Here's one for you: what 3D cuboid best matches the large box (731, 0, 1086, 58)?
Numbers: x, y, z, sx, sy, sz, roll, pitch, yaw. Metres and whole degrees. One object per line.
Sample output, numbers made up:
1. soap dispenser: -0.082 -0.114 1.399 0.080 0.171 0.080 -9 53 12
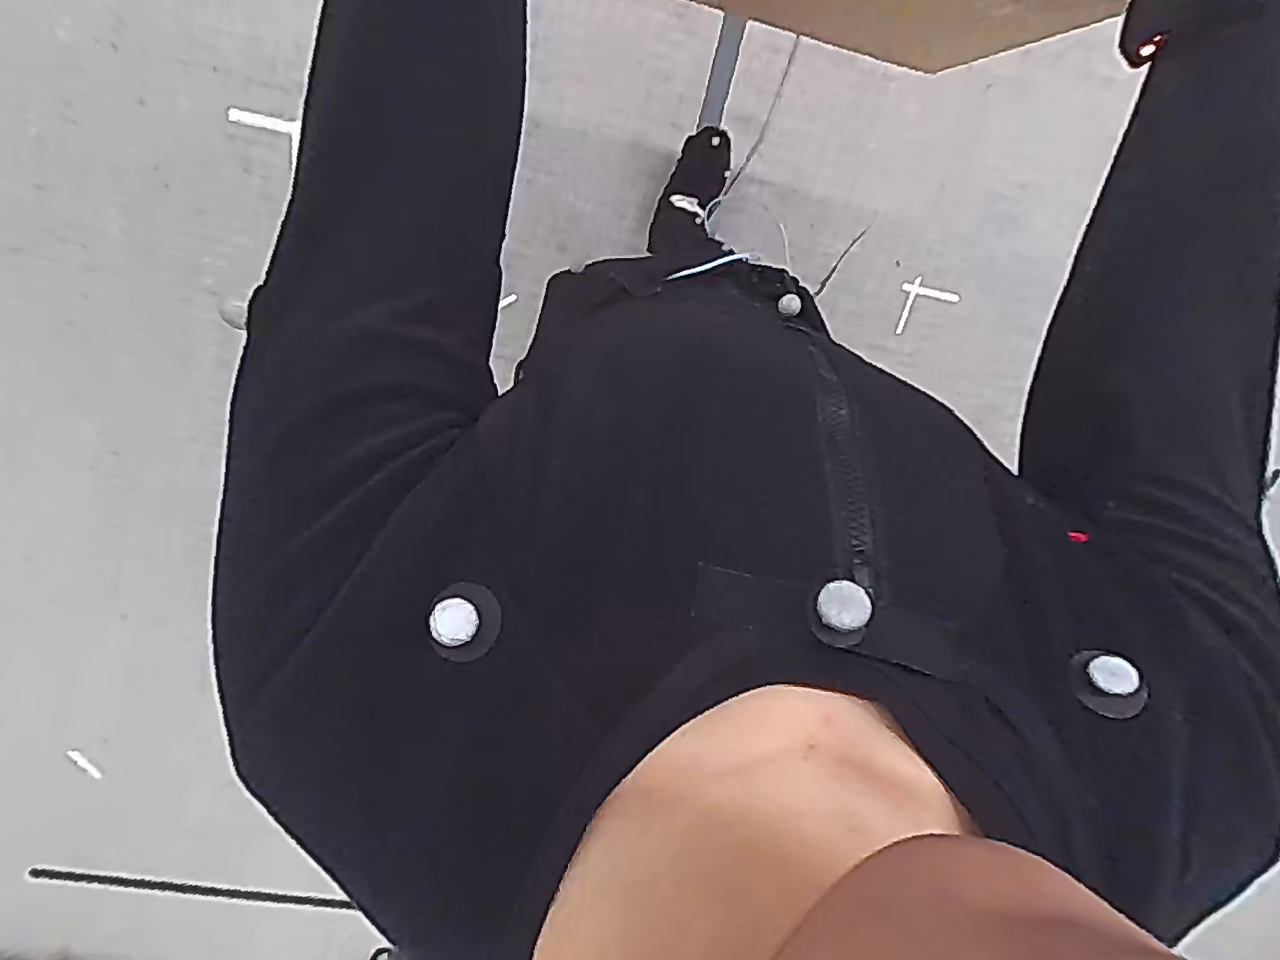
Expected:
1. large box: 0.175 -0.568 0.393 0.408 0.320 0.320 11 121 -7
